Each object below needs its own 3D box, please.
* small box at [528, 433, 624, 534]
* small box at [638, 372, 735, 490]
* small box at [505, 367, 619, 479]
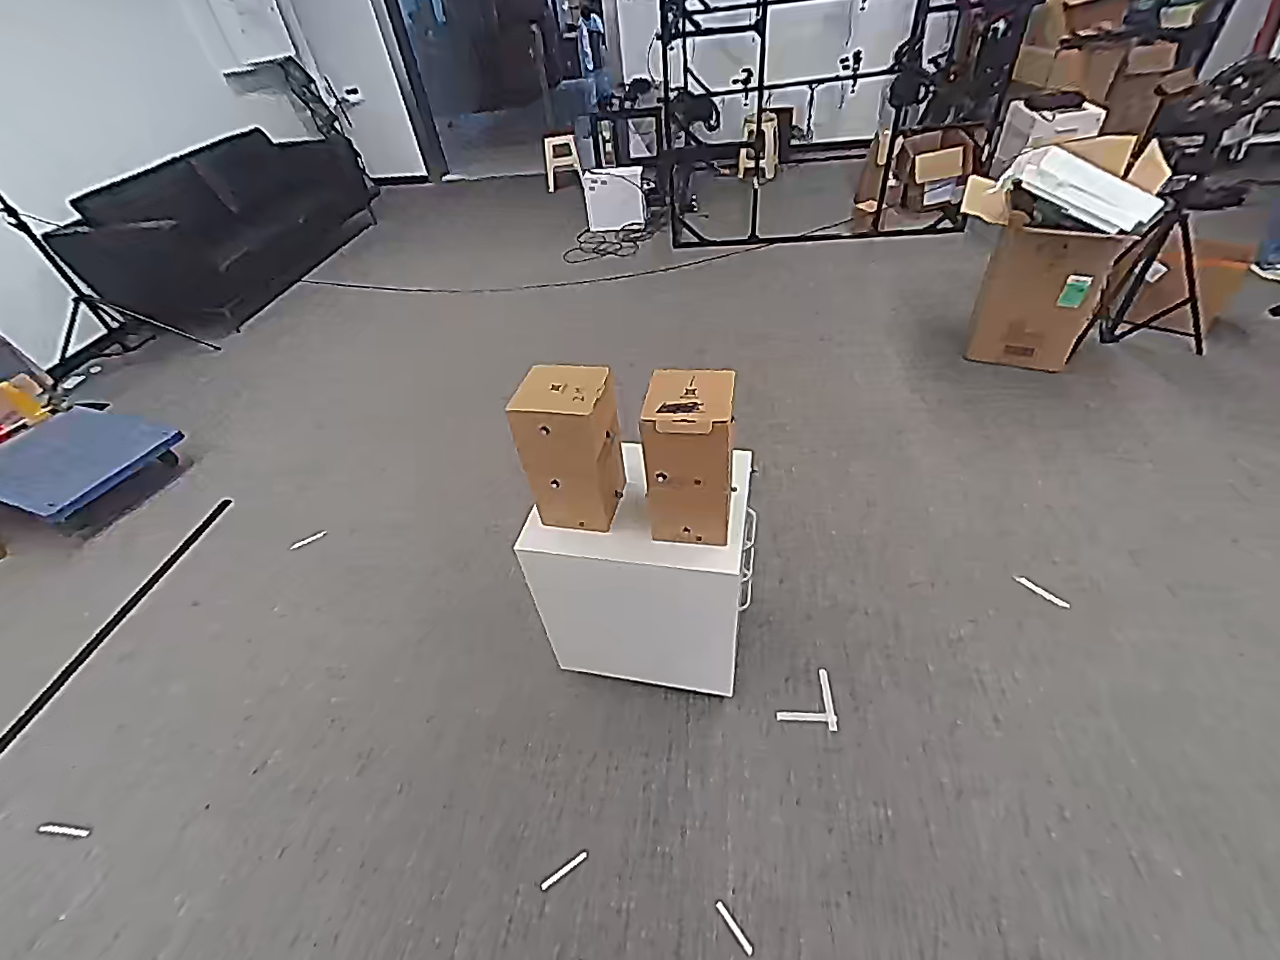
[{"bbox_3d":[-0.138,-0.001,1.248,0.168,0.176,0.179,5,43,13],"label":"small box"},{"bbox_3d":[0.101,-0.097,1.077,0.168,0.176,0.179,3,43,12],"label":"small box"},{"bbox_3d":[-0.154,-0.119,1.133,0.179,0.176,0.168,5,45,13],"label":"small box"}]
